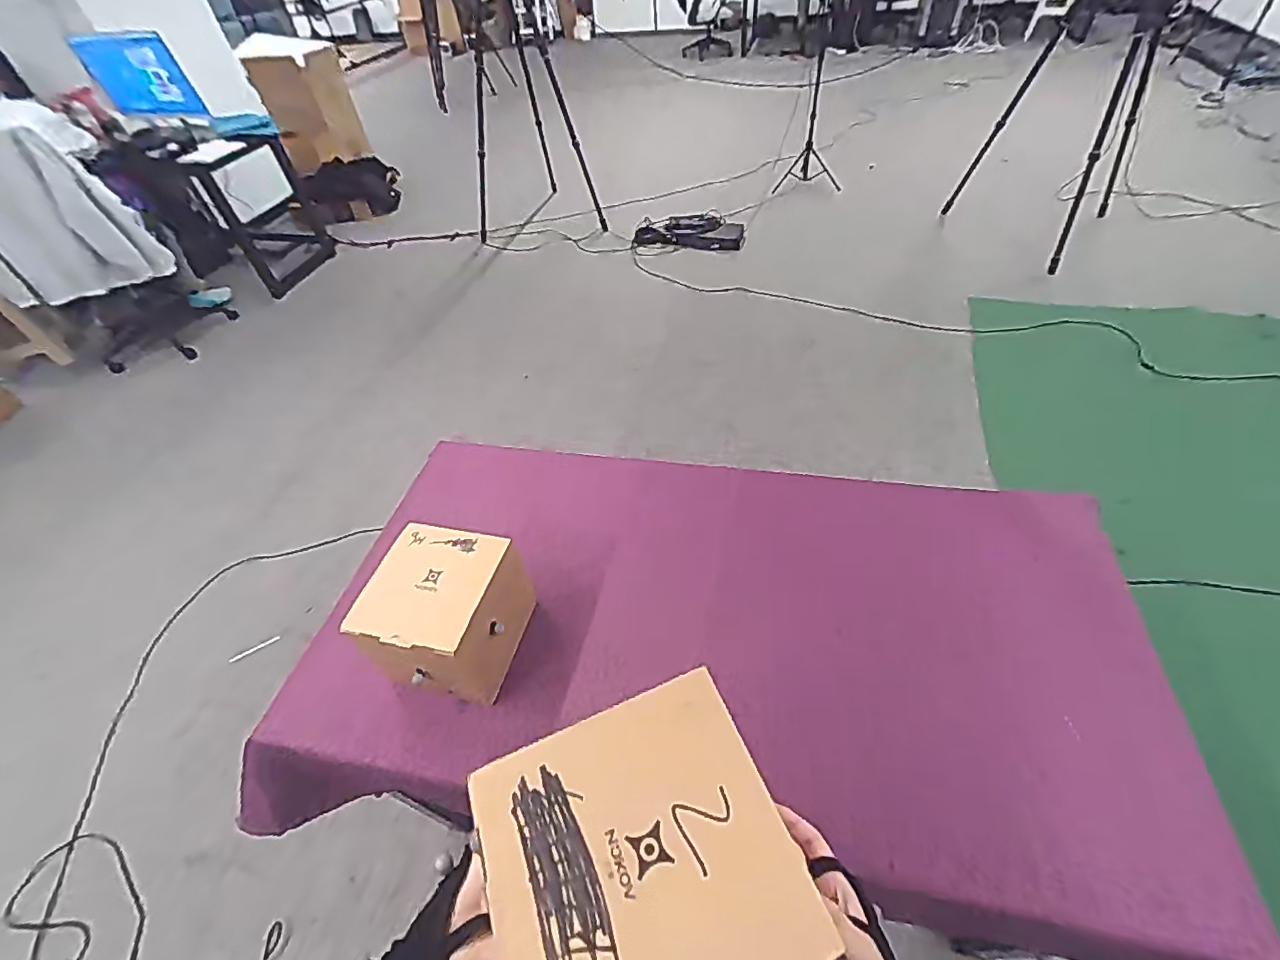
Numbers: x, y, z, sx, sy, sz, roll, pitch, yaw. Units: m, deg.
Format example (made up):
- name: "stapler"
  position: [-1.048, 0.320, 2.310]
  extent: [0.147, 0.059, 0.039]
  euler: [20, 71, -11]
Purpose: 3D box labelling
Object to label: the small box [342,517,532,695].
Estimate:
- name: "small box"
  position: [-0.271, 0.182, 0.771]
  extent: [0.168, 0.176, 0.179]
  euler: [9, 50, 12]
